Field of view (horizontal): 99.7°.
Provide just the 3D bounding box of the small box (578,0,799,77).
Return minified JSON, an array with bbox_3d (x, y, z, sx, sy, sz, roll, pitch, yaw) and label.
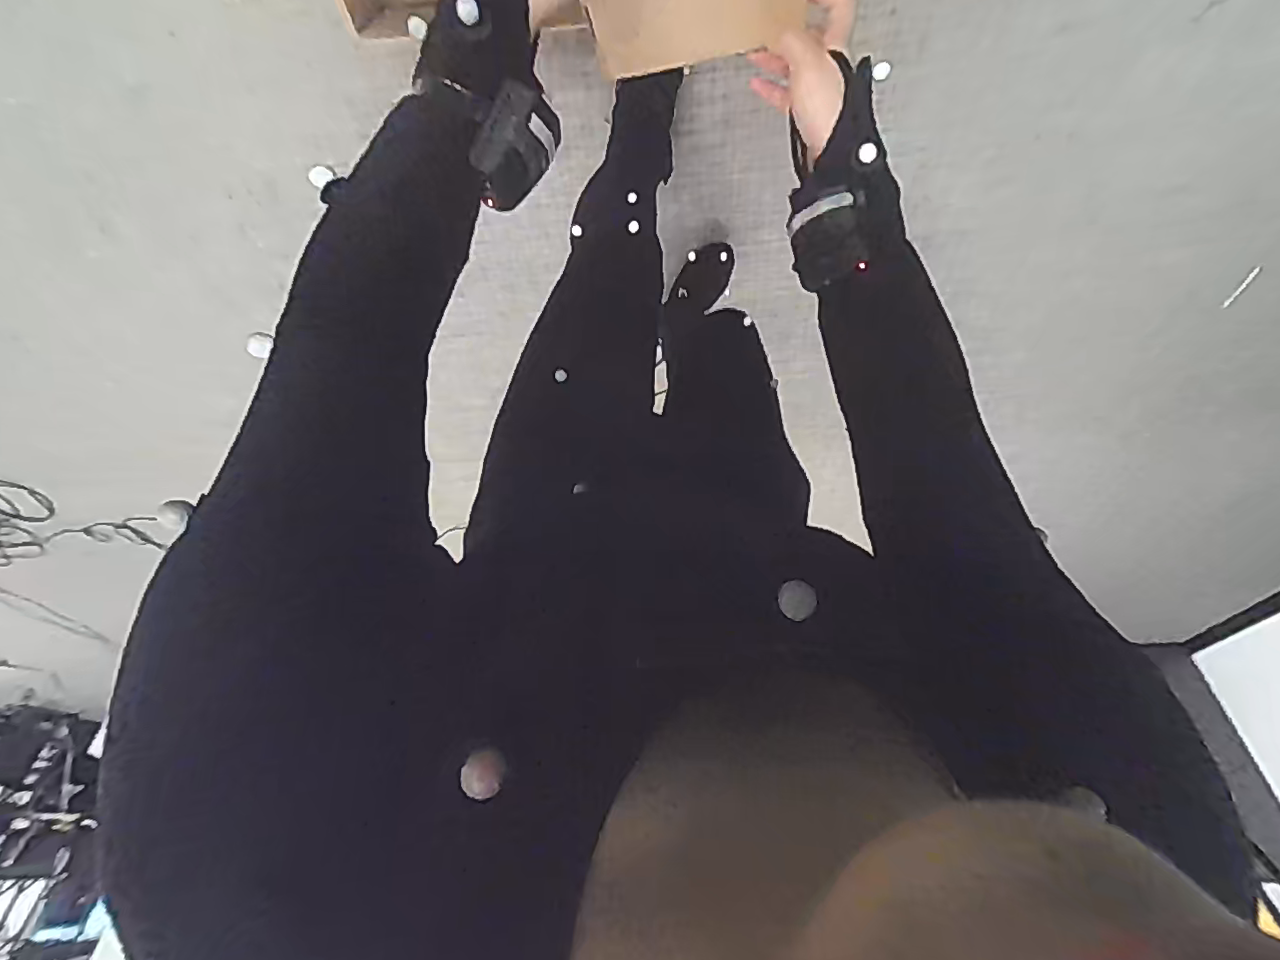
[{"bbox_3d":[0.032,-0.471,0.425,0.179,0.176,0.168,-4,159,11],"label":"small box"}]
